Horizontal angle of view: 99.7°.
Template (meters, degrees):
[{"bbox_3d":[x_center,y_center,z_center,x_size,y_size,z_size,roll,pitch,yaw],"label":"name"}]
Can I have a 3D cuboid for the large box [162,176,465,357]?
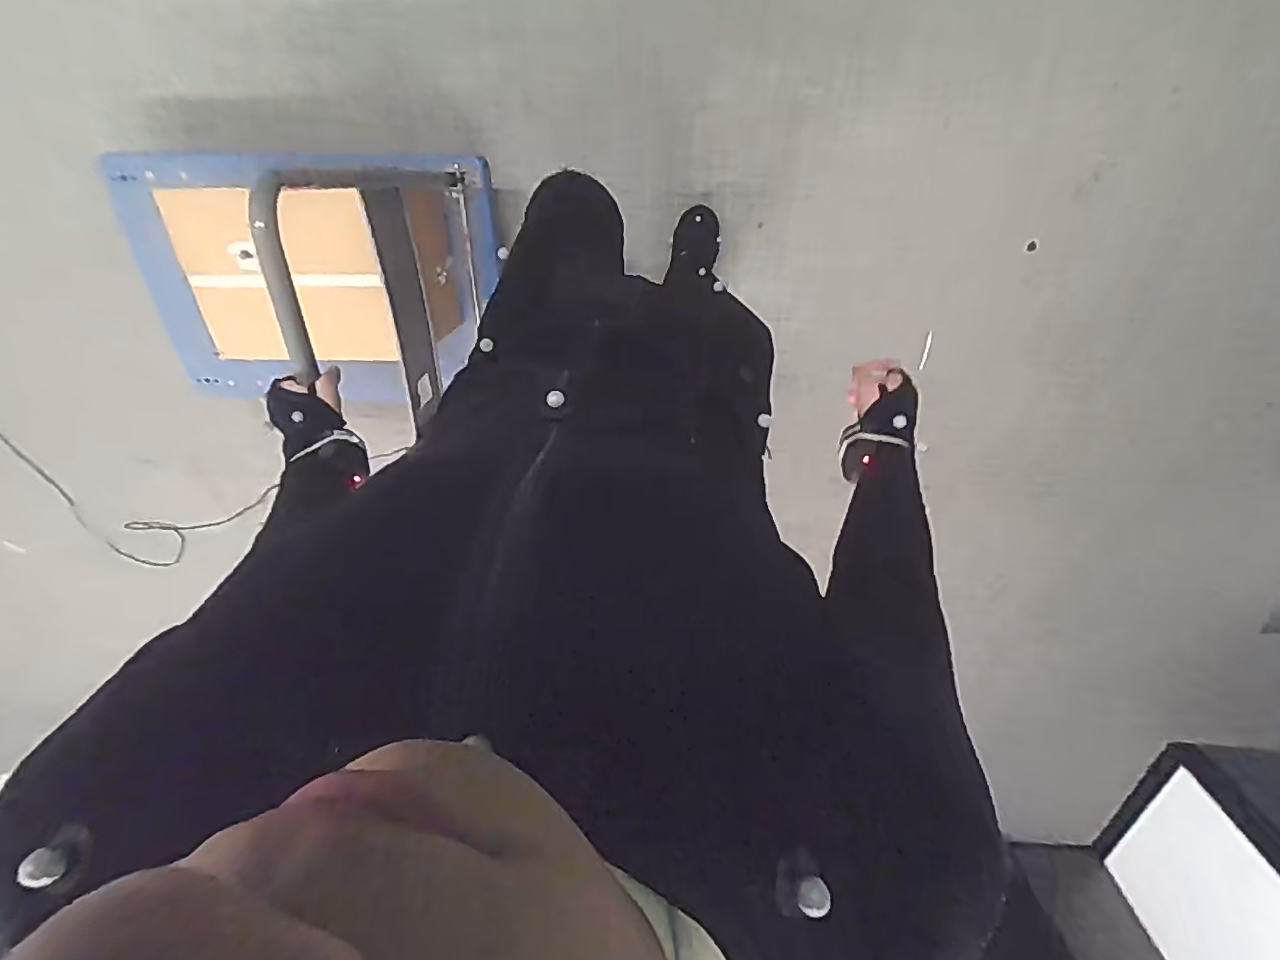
[{"bbox_3d":[-0.637,-0.459,1.144,0.408,0.320,0.320,1,119,3],"label":"large box"}]
